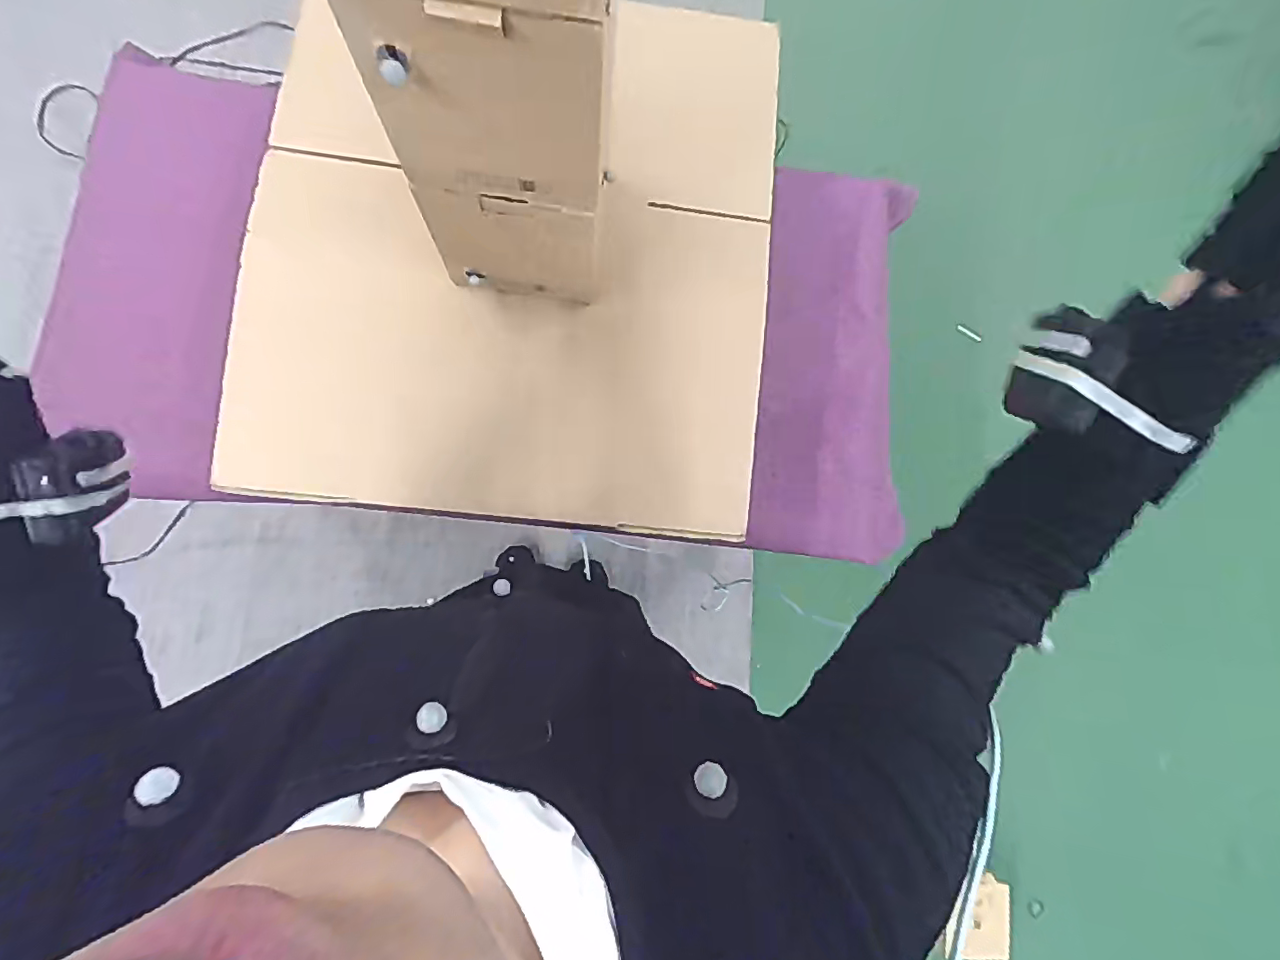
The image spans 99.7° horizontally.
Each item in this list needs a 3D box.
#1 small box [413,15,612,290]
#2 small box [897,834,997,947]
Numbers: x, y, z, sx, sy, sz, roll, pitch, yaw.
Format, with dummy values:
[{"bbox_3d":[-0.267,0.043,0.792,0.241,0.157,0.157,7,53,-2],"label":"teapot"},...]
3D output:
[{"bbox_3d":[-0.119,-0.319,0.563,0.168,0.176,0.179,4,82,-6],"label":"small box"},{"bbox_3d":[0.796,1.068,1.415,0.168,0.176,0.179,6,83,-6],"label":"small box"}]
